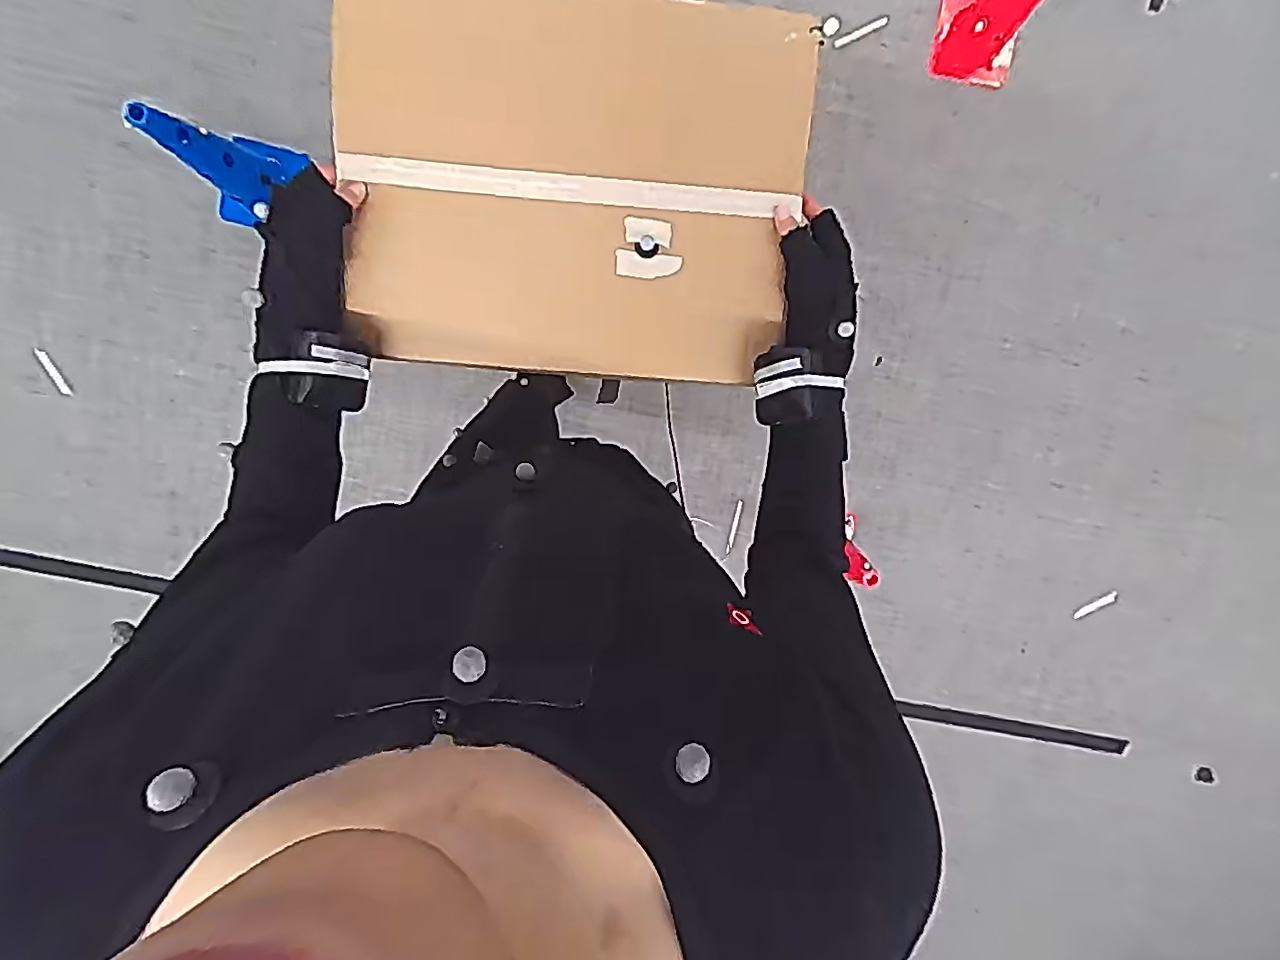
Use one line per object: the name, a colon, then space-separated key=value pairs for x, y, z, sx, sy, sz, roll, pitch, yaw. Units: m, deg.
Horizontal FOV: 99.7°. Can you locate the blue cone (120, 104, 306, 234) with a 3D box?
blue cone: x=-0.923 y=-0.694 z=1.170 sx=0.192 sy=0.380 sz=0.193 roll=15 pitch=98 yaw=-3

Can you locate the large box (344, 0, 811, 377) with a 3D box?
large box: x=-0.067 y=-0.288 z=0.628 sx=0.408 sy=0.320 sz=0.320 roll=3 pitch=100 yaw=-5

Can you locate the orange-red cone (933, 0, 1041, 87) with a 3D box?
orange-red cone: x=0.829 y=-1.056 z=1.146 sx=0.198 sy=0.360 sz=0.199 roll=9 pitch=97 yaw=-4
